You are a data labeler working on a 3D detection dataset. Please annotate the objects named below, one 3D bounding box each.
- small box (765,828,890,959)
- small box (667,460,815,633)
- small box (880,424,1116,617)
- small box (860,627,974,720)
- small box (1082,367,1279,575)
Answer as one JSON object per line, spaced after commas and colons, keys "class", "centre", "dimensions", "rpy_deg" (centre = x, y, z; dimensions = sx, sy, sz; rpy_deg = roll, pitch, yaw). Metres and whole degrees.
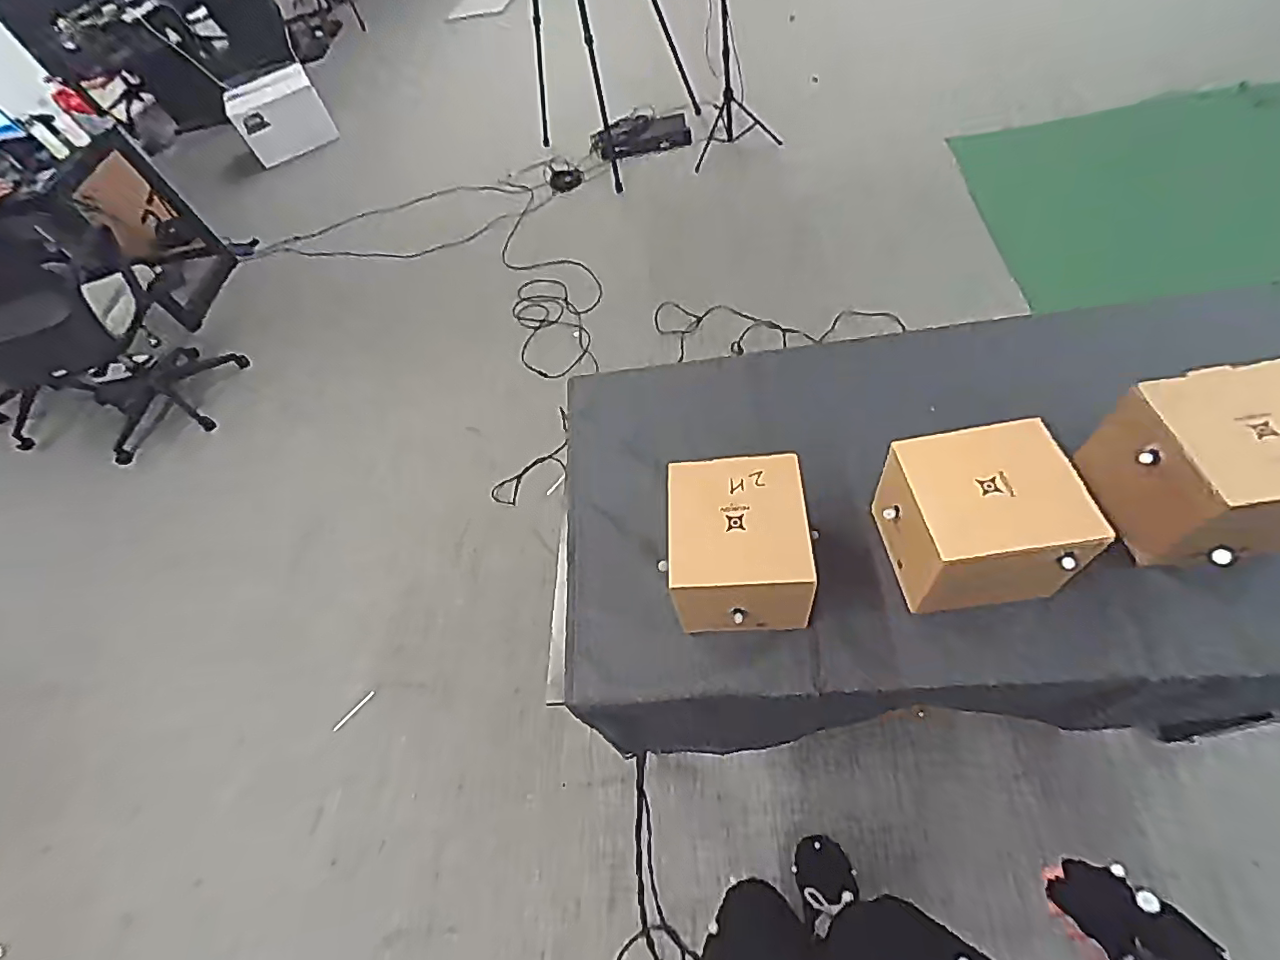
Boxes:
{"class": "small box", "centre": [0.372, 0.848, 1.057], "dimensions": [0.179, 0.176, 0.168], "rpy_deg": [-30, 24, -34]}
{"class": "small box", "centre": [0.129, 0.096, 0.707], "dimensions": [0.168, 0.176, 0.179], "rpy_deg": [-4, 57, 10]}
{"class": "small box", "centre": [0.414, 0.058, 0.671], "dimensions": [0.179, 0.176, 0.168], "rpy_deg": [-10, 56, 7]}
{"class": "small box", "centre": [0.627, 0.450, 1.246], "dimensions": [0.179, 0.176, 0.168], "rpy_deg": [-8, 56, 9]}
{"class": "small box", "centre": [0.688, -0.006, 0.647], "dimensions": [0.168, 0.176, 0.179], "rpy_deg": [-9, 56, 8]}
